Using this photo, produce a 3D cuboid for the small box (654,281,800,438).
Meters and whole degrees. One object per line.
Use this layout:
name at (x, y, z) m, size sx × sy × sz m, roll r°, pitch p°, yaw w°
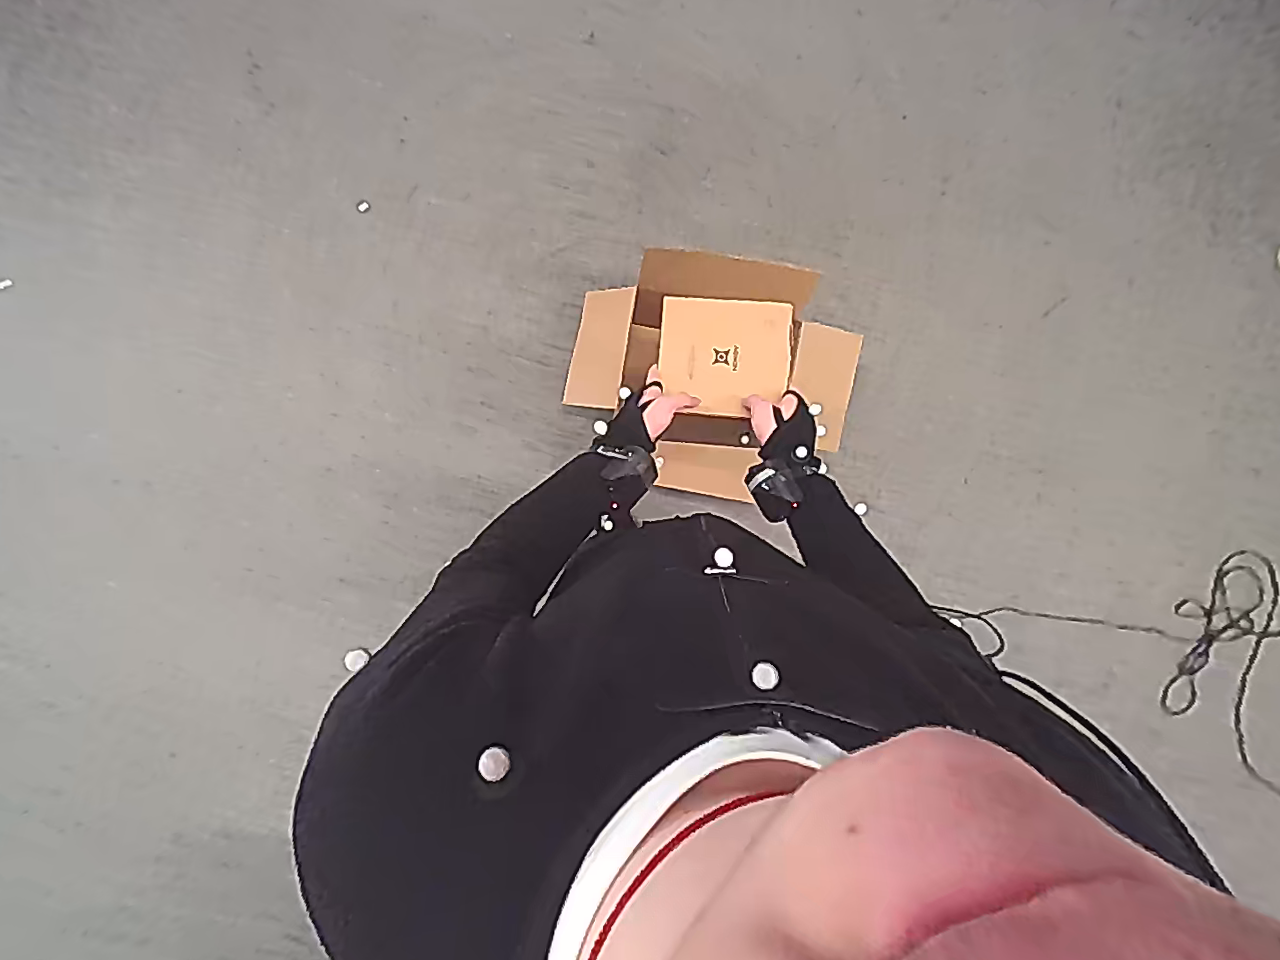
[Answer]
small box at (0.118, -0.163, 0.782) m, size 0.179 × 0.176 × 0.168 m, roll 7°, pitch 81°, yaw 5°
